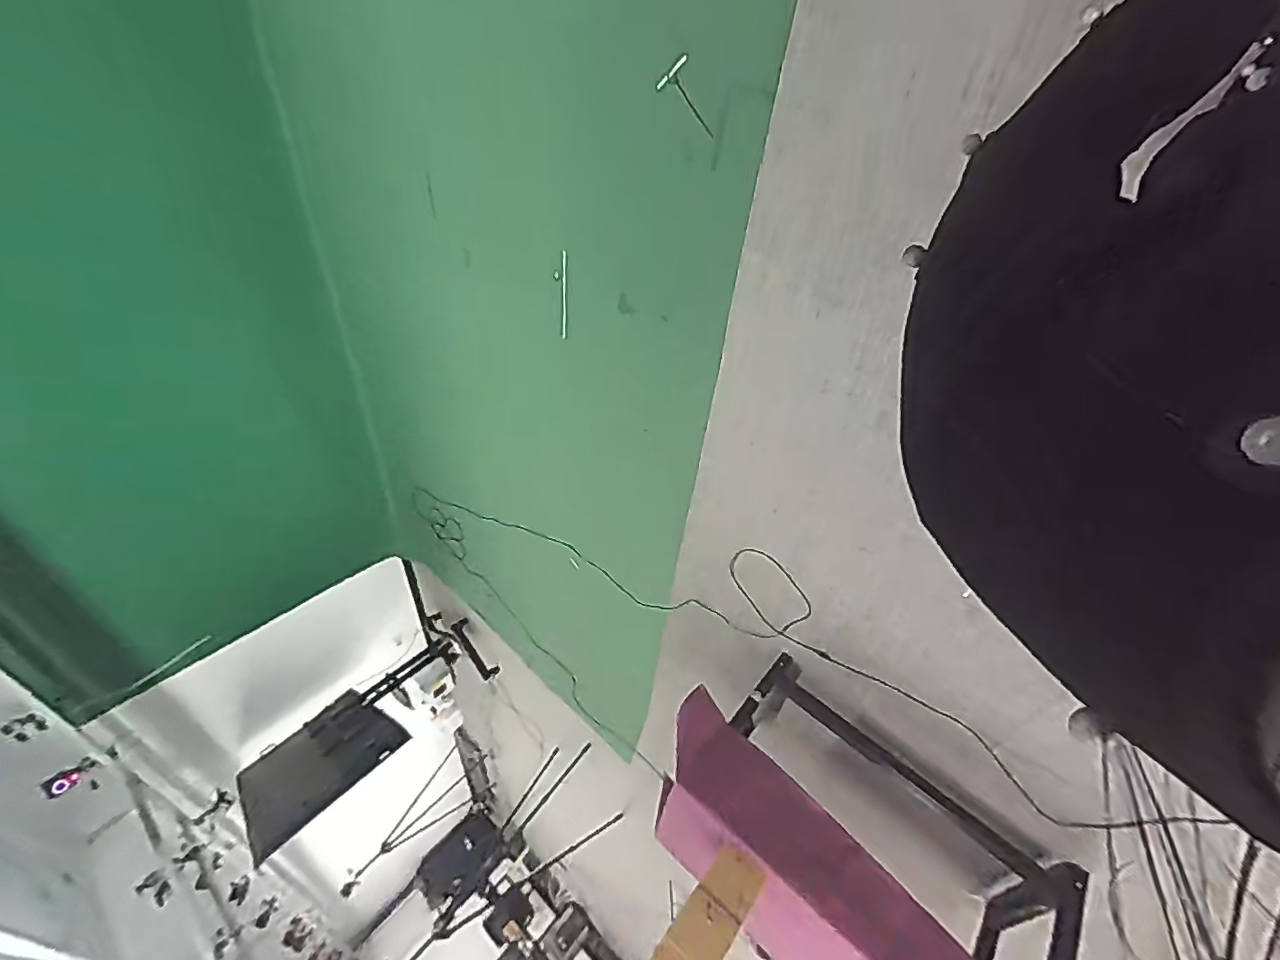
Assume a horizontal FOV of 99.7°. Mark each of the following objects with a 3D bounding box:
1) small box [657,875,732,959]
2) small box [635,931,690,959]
[{"bbox_3d":[0.168,1.382,1.674,0.168,0.176,0.179,28,135,31],"label":"small box"},{"bbox_3d":[0.067,1.469,1.577,0.179,0.176,0.168,25,135,32],"label":"small box"}]
